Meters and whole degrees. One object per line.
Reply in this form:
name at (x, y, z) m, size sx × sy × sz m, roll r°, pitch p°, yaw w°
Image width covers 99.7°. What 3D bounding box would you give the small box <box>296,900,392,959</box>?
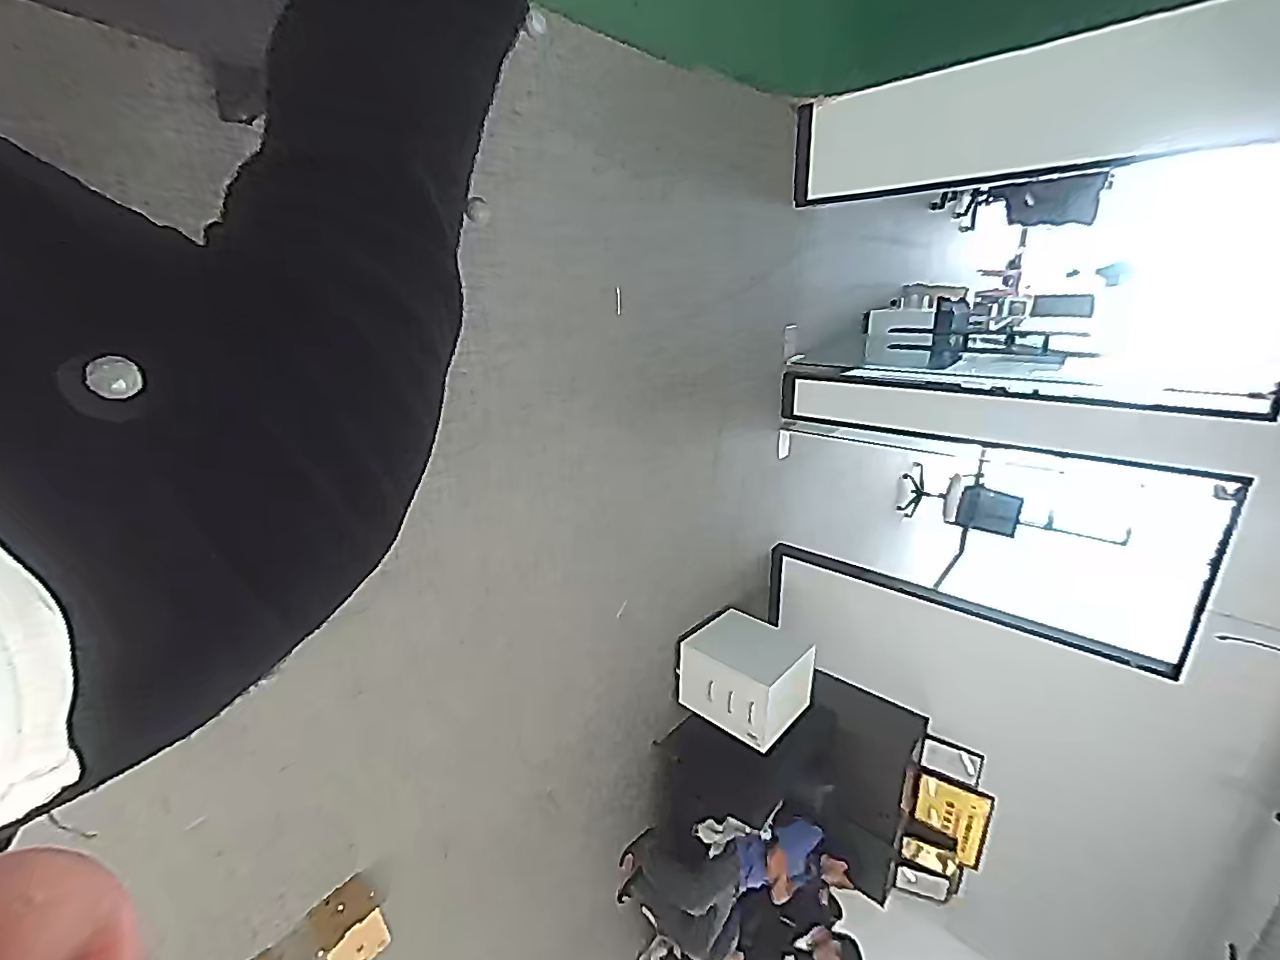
small box at (-0.939, 1.474, 1.709) m, size 0.179 × 0.176 × 0.168 m, roll -55°, pitch 139°, yaw -24°
